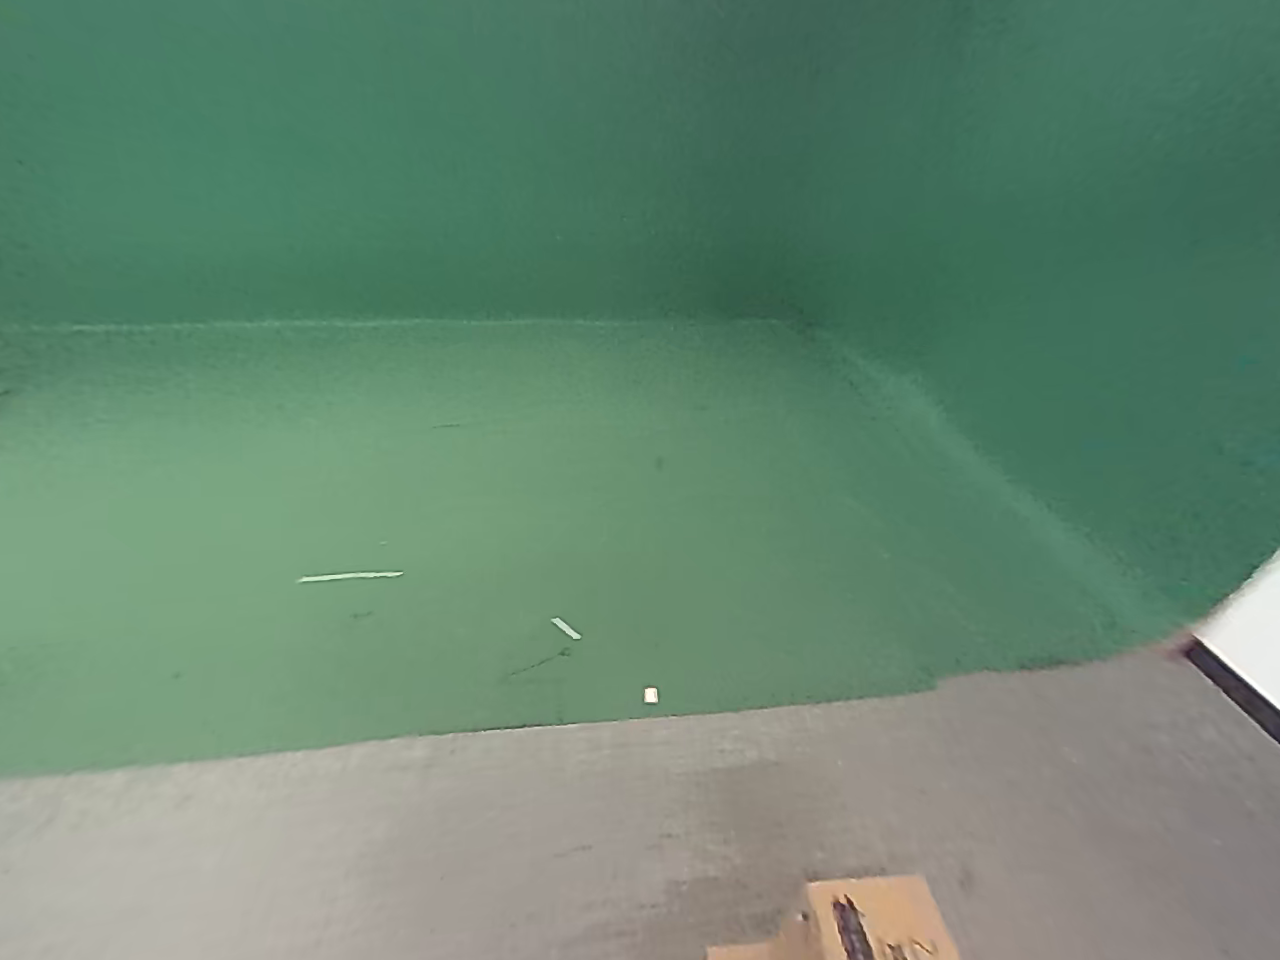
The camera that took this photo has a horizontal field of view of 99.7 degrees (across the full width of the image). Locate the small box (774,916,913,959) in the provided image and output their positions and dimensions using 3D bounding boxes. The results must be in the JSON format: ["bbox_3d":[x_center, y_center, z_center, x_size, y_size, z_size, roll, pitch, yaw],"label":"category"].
[{"bbox_3d":[0.324,0.807,0.838,0.179,0.176,0.168,3,36,-2],"label":"small box"}]
